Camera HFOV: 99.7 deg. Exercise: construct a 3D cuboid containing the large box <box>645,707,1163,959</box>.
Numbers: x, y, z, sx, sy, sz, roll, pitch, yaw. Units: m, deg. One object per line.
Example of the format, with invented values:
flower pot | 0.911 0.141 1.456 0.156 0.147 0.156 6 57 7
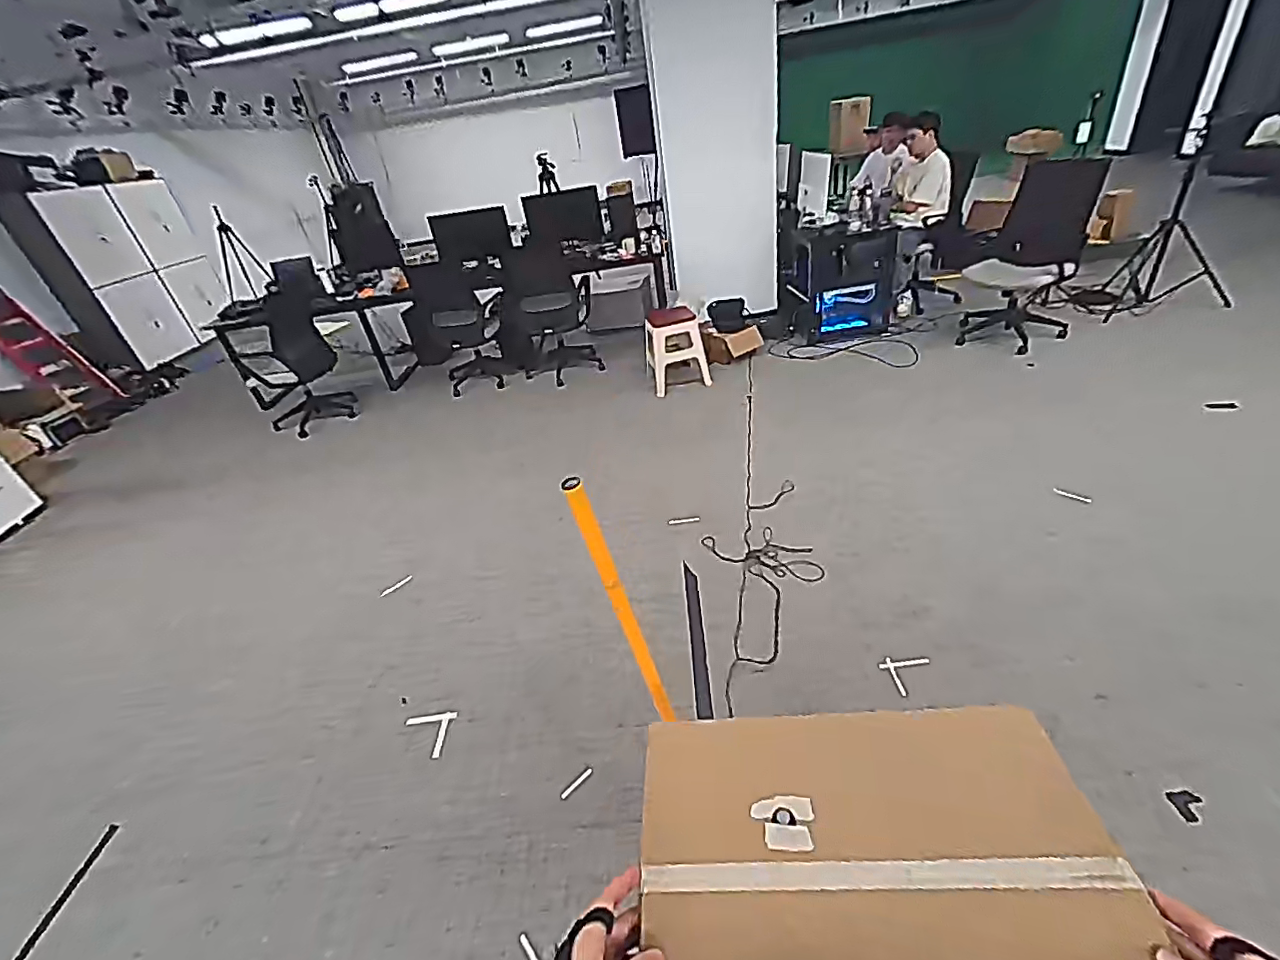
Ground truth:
large box | 0.229 0.475 0.558 0.408 0.320 0.320 -7 32 8
